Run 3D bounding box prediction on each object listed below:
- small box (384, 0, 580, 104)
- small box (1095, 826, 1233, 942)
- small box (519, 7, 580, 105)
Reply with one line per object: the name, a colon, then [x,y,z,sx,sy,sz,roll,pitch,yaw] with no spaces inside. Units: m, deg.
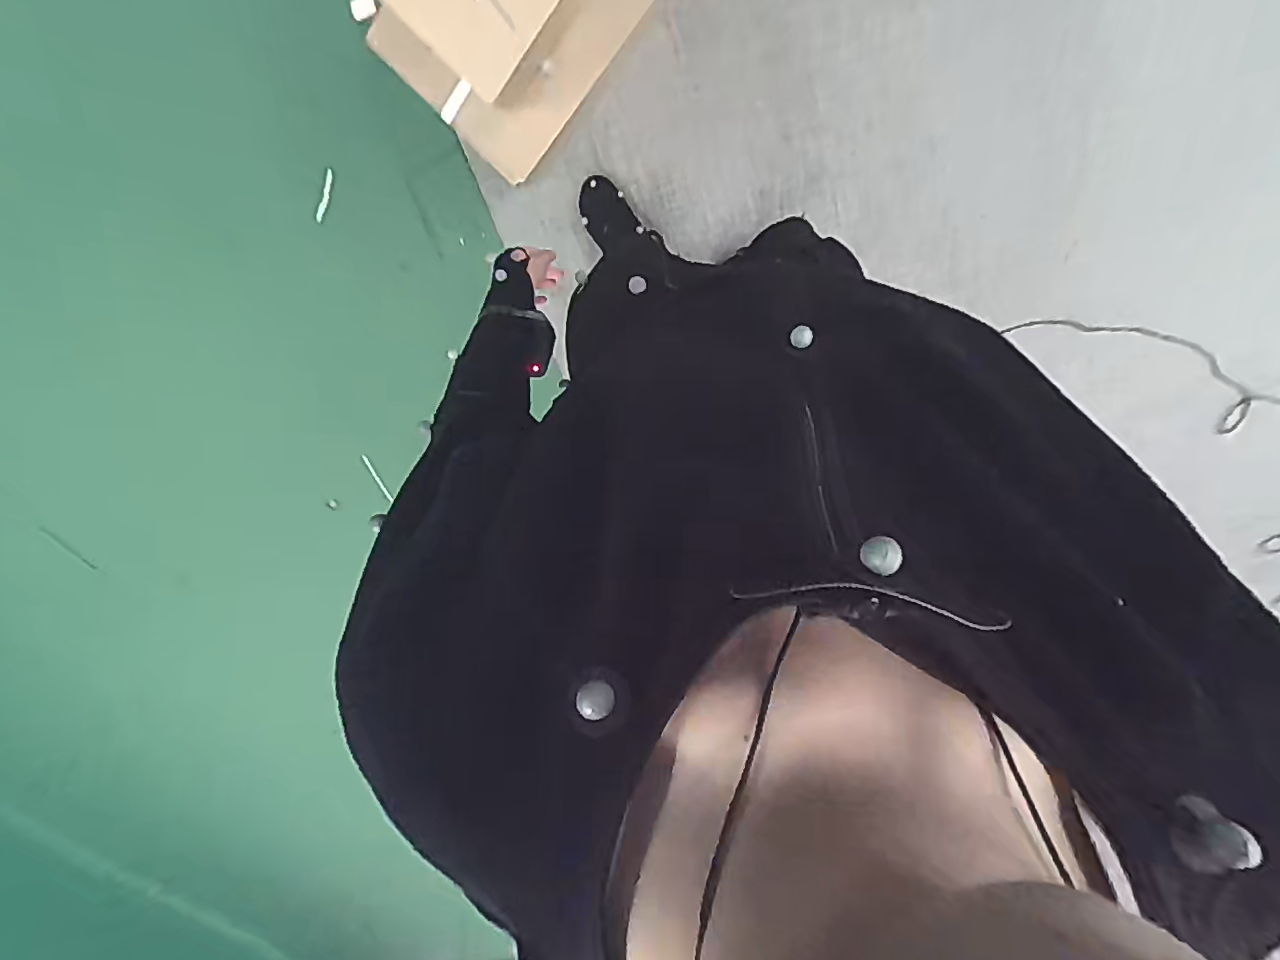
small box: [-0.190,-0.585,0.646,0.179,0.176,0.168,37,114,-23]
small box: [1.257,0.979,1.314,0.168,0.176,0.179,-17,120,9]
small box: [-0.204,-0.678,0.782,0.179,0.176,0.168,33,115,-20]
